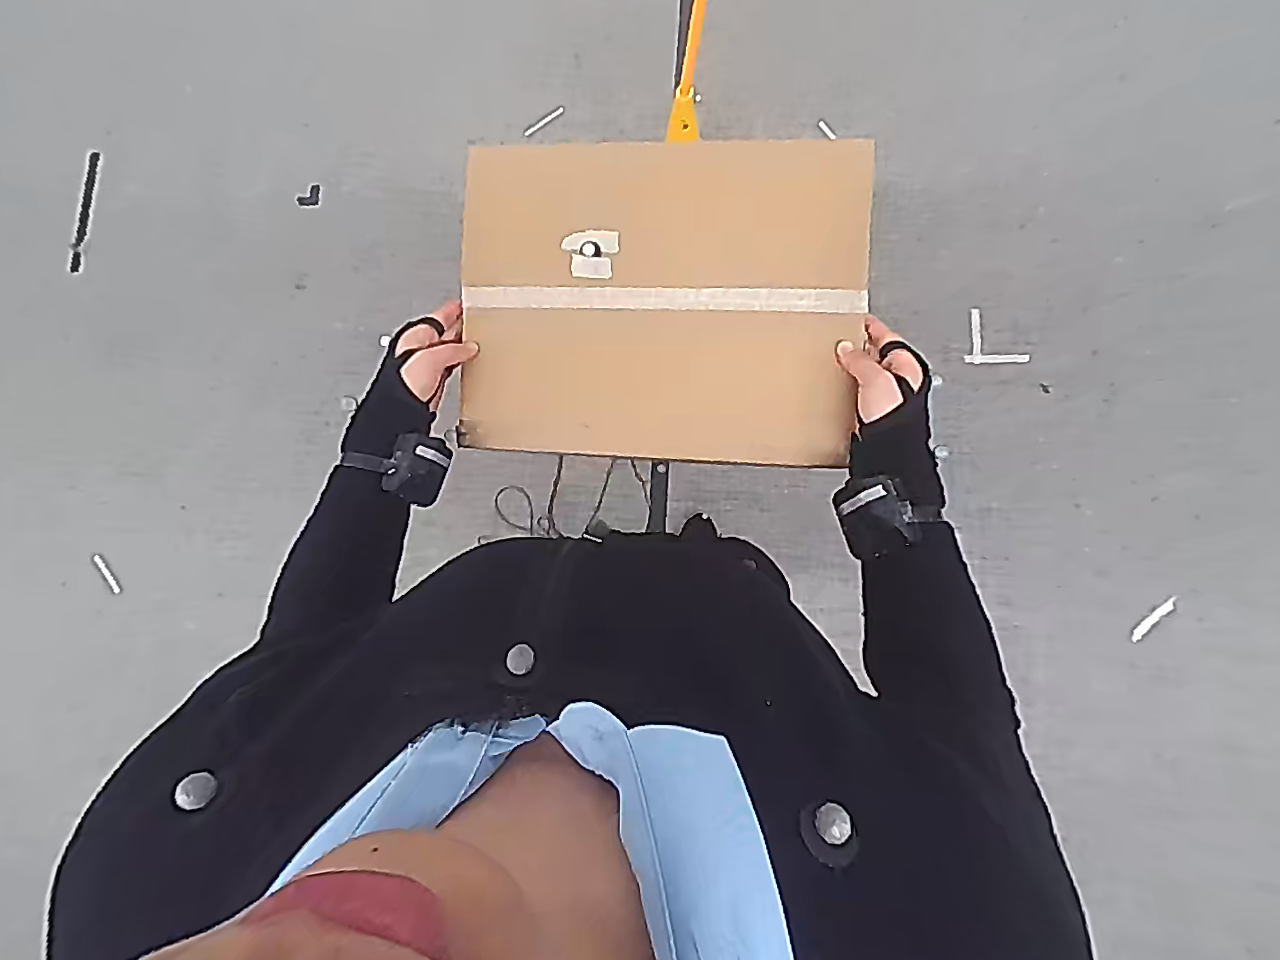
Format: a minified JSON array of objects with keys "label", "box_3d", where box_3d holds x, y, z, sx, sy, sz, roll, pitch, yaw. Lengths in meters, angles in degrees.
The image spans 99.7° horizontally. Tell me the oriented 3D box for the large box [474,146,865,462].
[{"label":"large box","box_3d":[0.042,-0.183,0.703,0.408,0.320,0.320,3,91,8]}]
